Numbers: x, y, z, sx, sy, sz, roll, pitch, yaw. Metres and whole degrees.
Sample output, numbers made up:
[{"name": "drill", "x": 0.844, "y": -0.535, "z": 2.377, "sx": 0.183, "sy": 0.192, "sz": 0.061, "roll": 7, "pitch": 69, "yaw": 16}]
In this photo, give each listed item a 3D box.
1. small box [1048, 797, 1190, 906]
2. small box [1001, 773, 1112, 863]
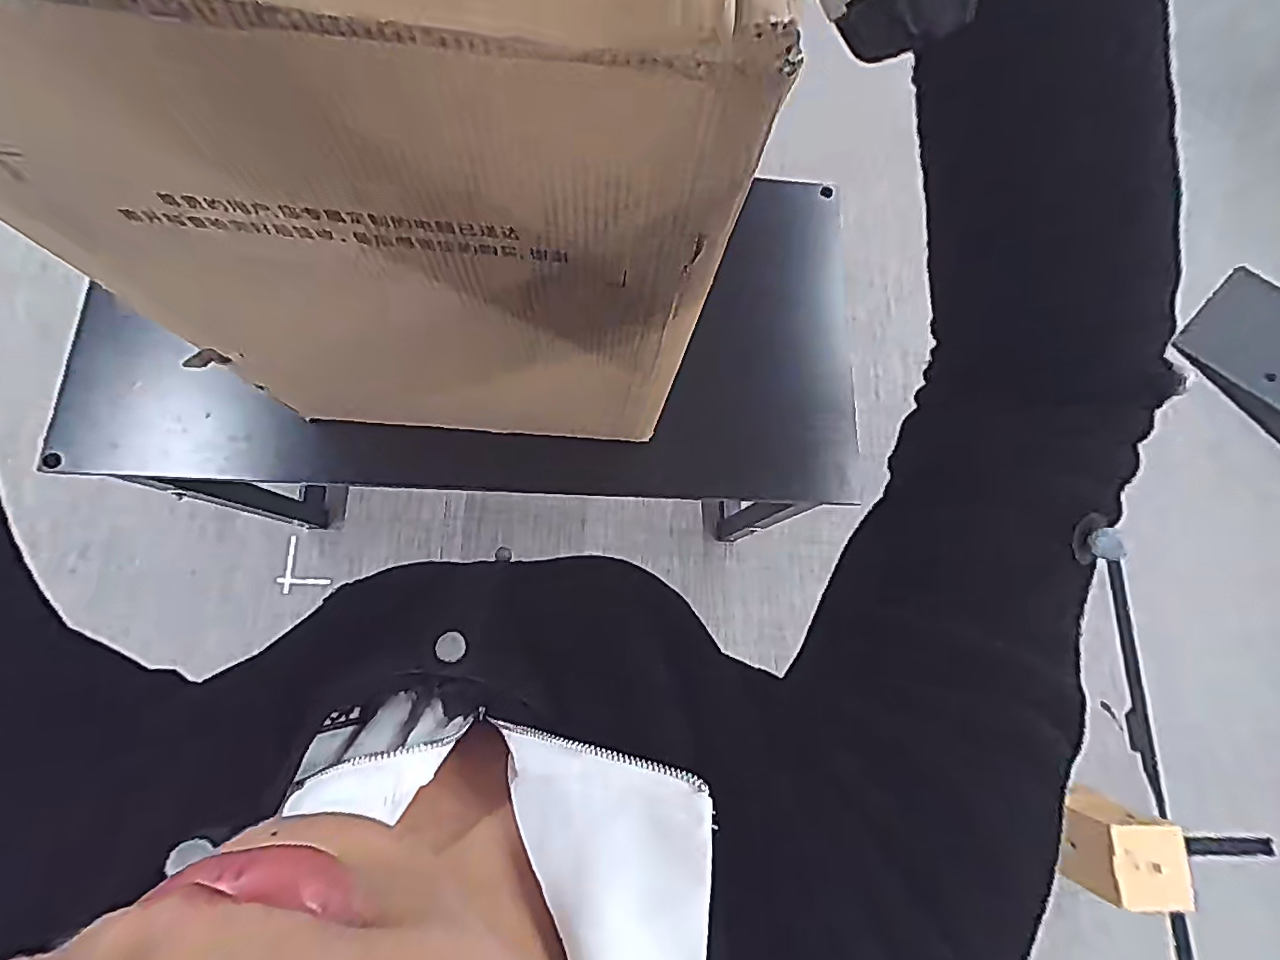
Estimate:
[{"name": "small box", "x": 1.107, "y": 0.856, "z": 1.262, "sx": 0.179, "sy": 0.176, "sz": 0.168, "roll": 4, "pitch": 76, "yaw": -5}, {"name": "small box", "x": 1.099, "y": 0.885, "z": 1.425, "sx": 0.179, "sy": 0.176, "sz": 0.168, "roll": 3, "pitch": 77, "yaw": -4}]
